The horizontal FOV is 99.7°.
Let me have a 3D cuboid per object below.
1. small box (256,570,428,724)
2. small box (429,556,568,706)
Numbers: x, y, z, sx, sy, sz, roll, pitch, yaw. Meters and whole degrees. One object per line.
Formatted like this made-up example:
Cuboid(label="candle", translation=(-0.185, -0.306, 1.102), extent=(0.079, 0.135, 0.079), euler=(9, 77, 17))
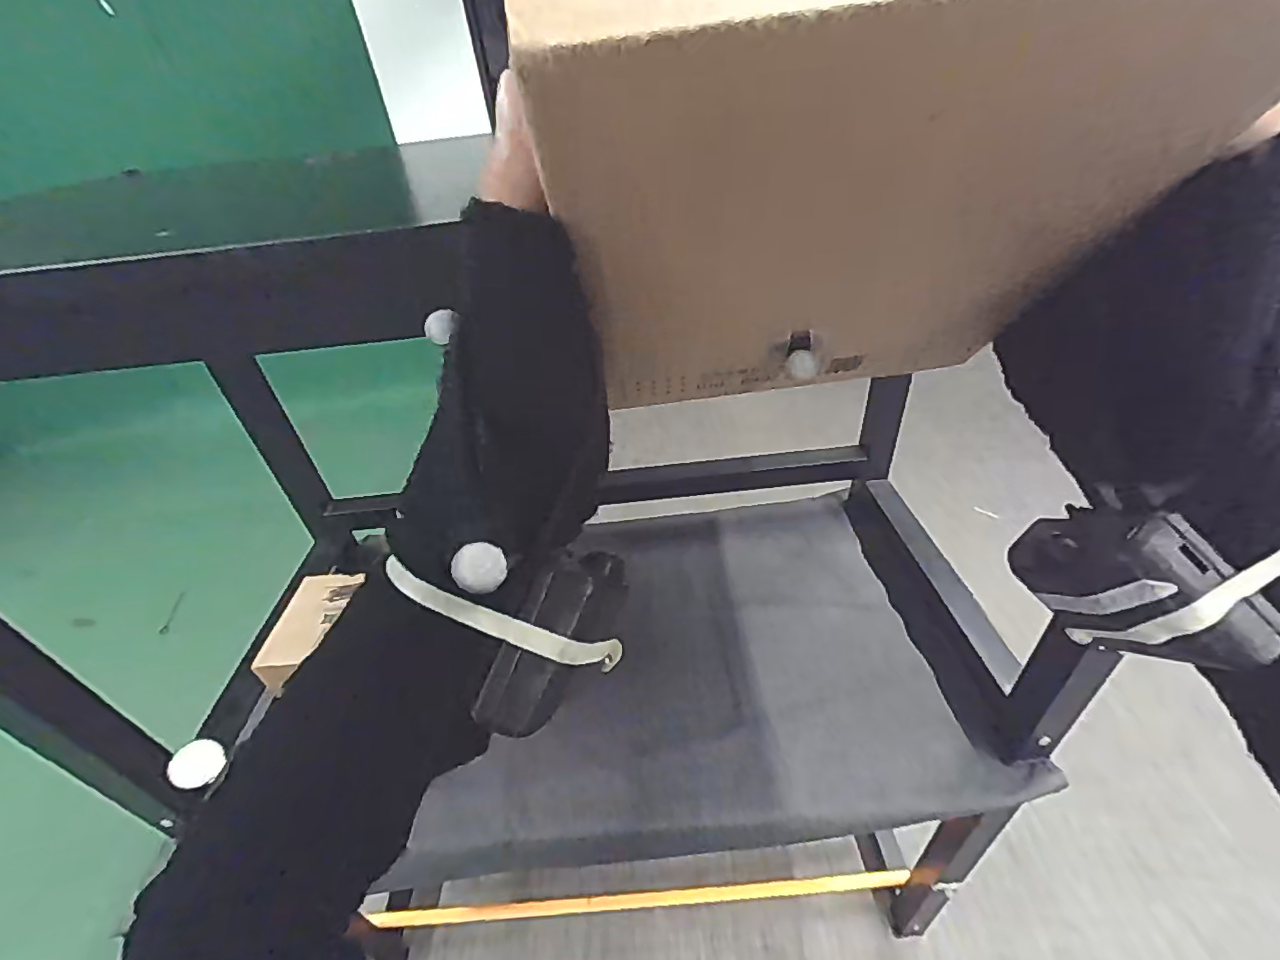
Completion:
Cuboid(label="small box", translation=(-0.467, 0.271, 0.885), extent=(0.168, 0.176, 0.179), euler=(-5, 38, 2))
Cuboid(label="small box", translation=(-0.215, 0.250, 0.880), extent=(0.168, 0.176, 0.179), euler=(-5, 37, 2))
